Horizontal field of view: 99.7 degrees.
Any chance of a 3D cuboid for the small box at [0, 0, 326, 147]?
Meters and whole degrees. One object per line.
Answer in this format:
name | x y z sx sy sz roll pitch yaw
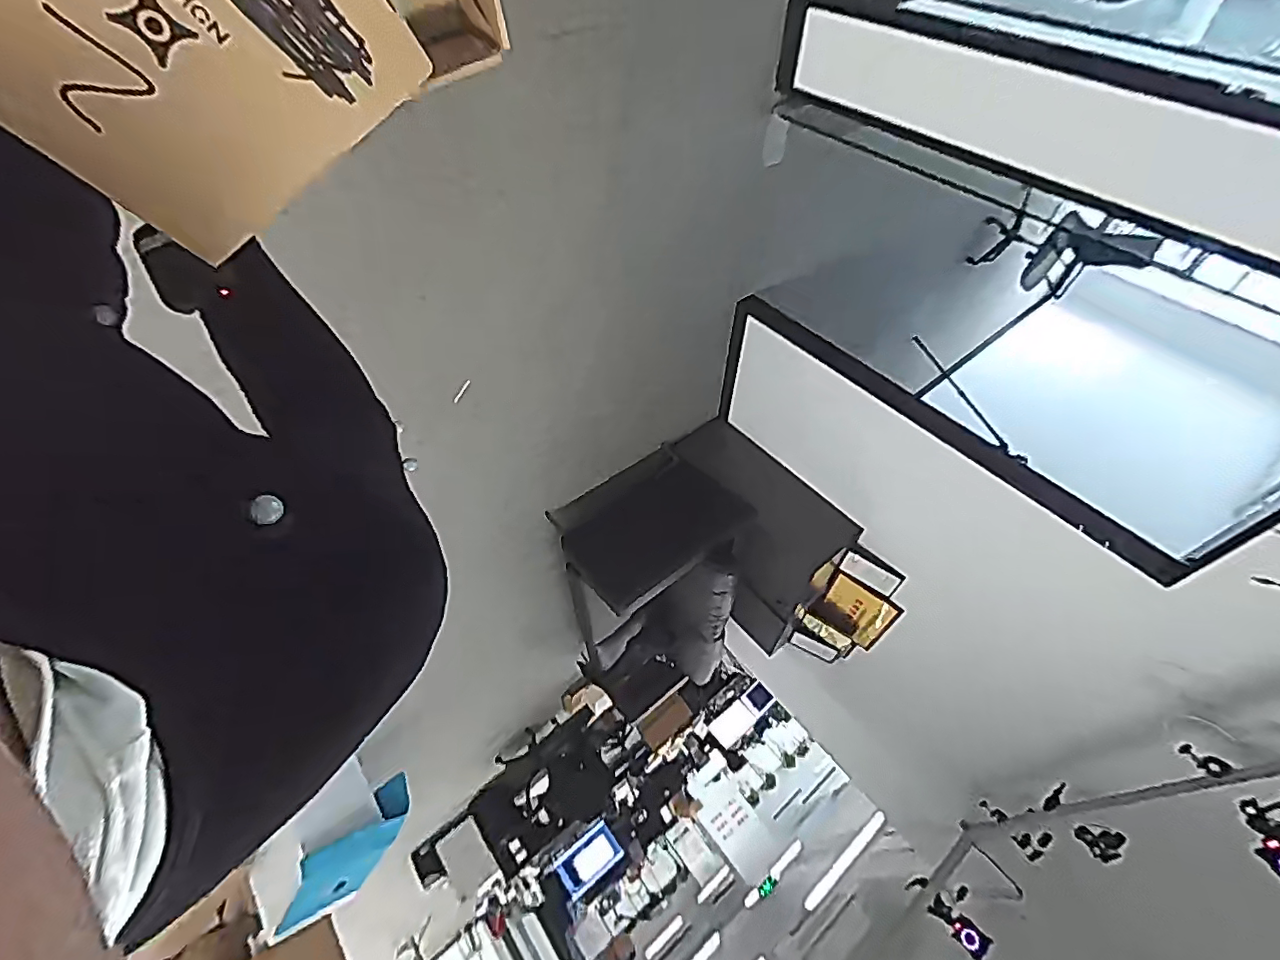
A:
small box | -0.344 -0.365 0.337 0.179 0.176 0.168 -41 154 2
